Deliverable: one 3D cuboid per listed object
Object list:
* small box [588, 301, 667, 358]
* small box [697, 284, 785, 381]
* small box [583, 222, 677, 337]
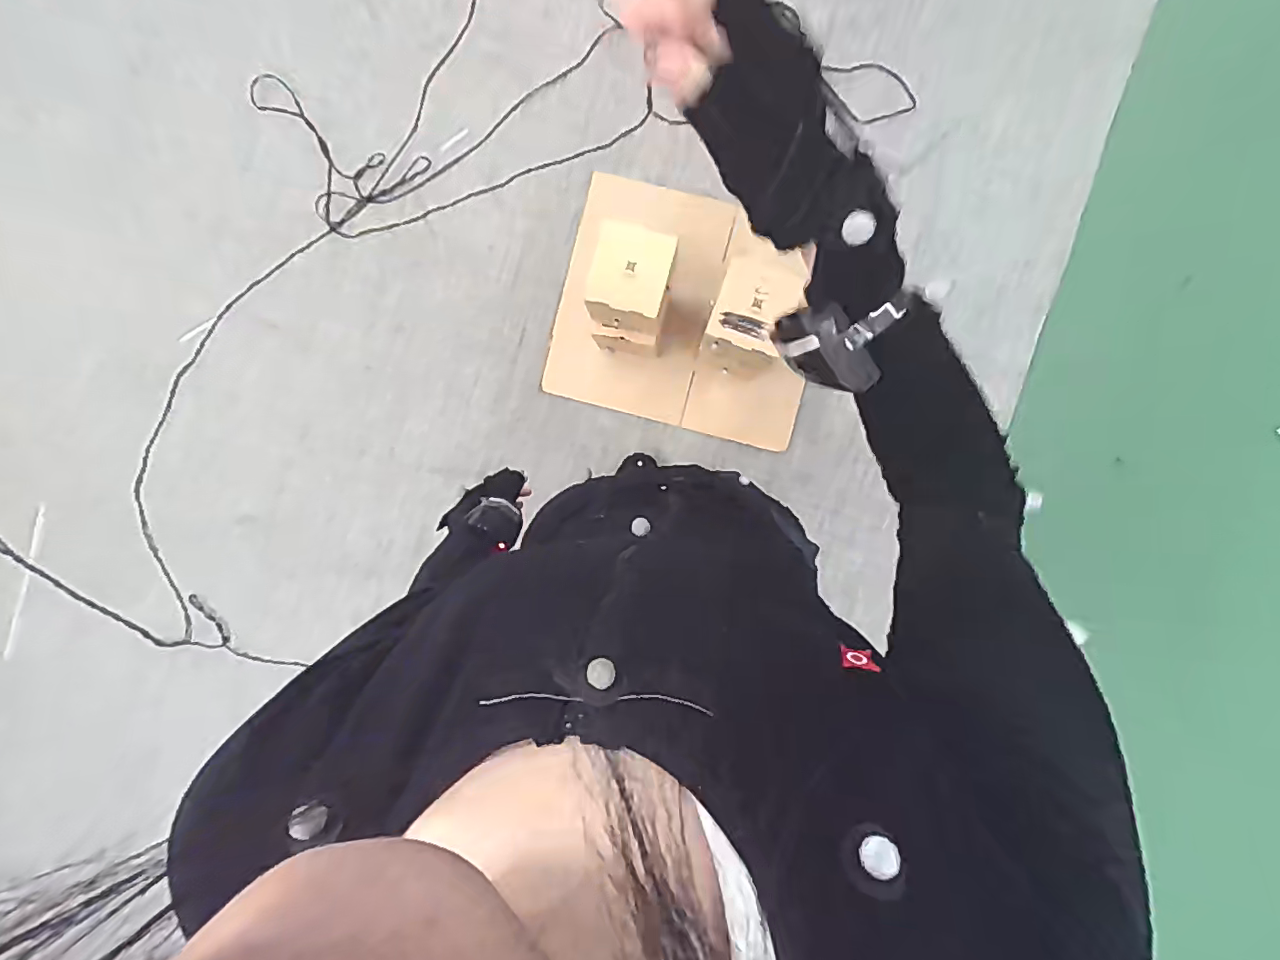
[{"bbox_3d":[-0.026,-0.422,1.382,0.168,0.176,0.179,12,92,2],"label":"small box"},{"bbox_3d":[0.247,-0.367,1.376,0.168,0.176,0.179,19,93,2],"label":"small box"},{"bbox_3d":[-0.021,-0.443,1.218,0.168,0.176,0.179,15,92,1],"label":"small box"}]
